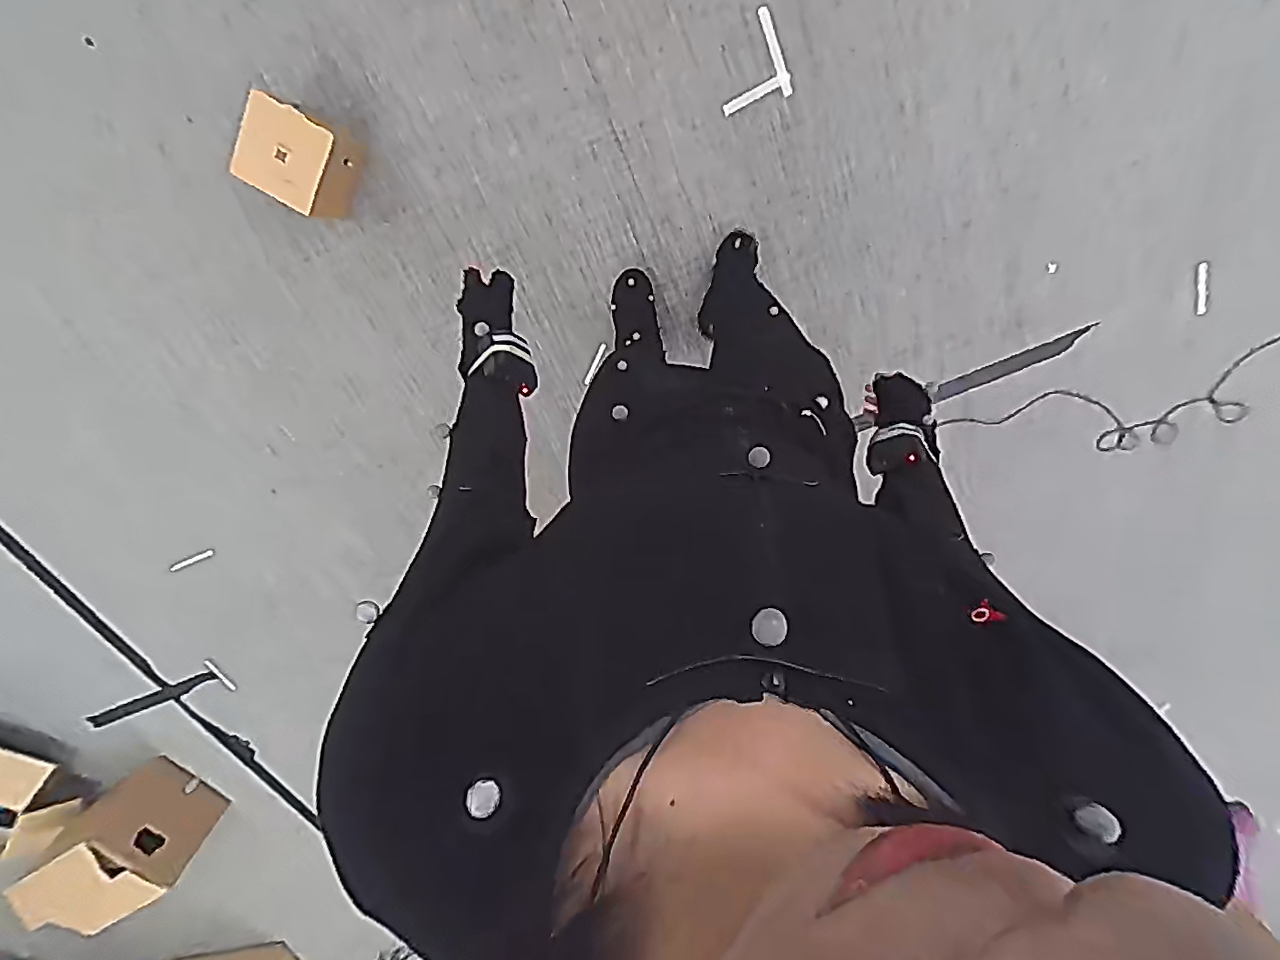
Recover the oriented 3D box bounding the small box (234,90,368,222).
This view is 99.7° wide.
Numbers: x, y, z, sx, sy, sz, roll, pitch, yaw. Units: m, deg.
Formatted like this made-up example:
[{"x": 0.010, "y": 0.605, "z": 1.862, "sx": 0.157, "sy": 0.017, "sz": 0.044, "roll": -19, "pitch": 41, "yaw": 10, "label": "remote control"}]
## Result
[{"x": -0.716, "y": -0.682, "z": 1.161, "sx": 0.168, "sy": 0.176, "sz": 0.179, "roll": 28, "pitch": 110, "yaw": -12, "label": "small box"}]
